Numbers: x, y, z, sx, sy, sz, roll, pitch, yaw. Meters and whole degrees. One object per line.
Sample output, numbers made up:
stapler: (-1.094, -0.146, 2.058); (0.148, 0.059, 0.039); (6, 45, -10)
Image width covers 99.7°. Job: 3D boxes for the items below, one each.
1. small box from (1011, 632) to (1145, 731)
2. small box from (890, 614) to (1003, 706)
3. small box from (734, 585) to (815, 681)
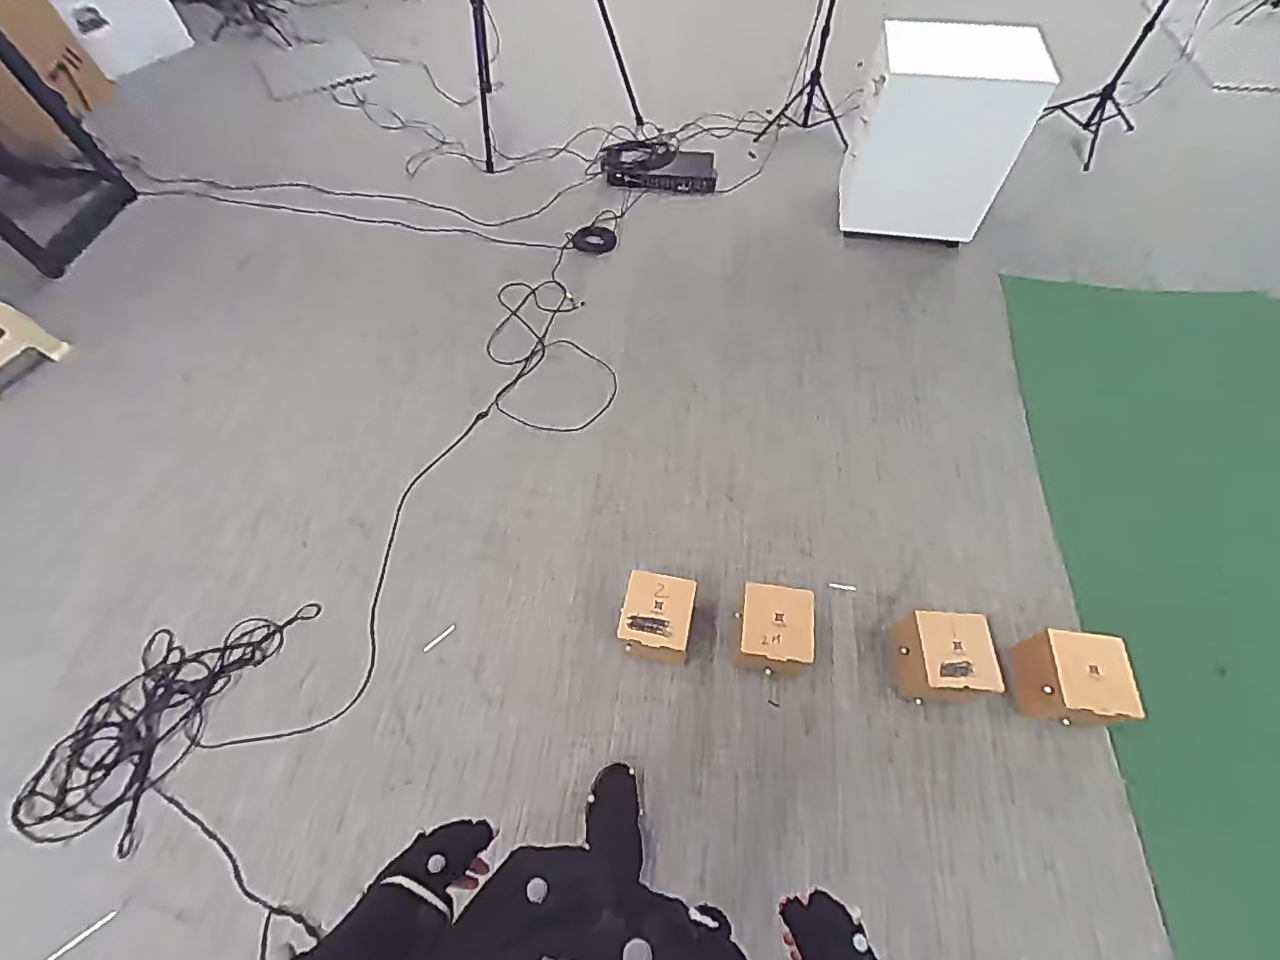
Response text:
small box: (1.015, 0.477, 1.275); (0.168, 0.176, 0.179); (6, 59, 5)
small box: (0.726, 0.437, 1.302); (0.168, 0.176, 0.179); (3, 58, 2)
small box: (0.329, 0.381, 1.340); (0.168, 0.176, 0.179); (7, 60, 7)
